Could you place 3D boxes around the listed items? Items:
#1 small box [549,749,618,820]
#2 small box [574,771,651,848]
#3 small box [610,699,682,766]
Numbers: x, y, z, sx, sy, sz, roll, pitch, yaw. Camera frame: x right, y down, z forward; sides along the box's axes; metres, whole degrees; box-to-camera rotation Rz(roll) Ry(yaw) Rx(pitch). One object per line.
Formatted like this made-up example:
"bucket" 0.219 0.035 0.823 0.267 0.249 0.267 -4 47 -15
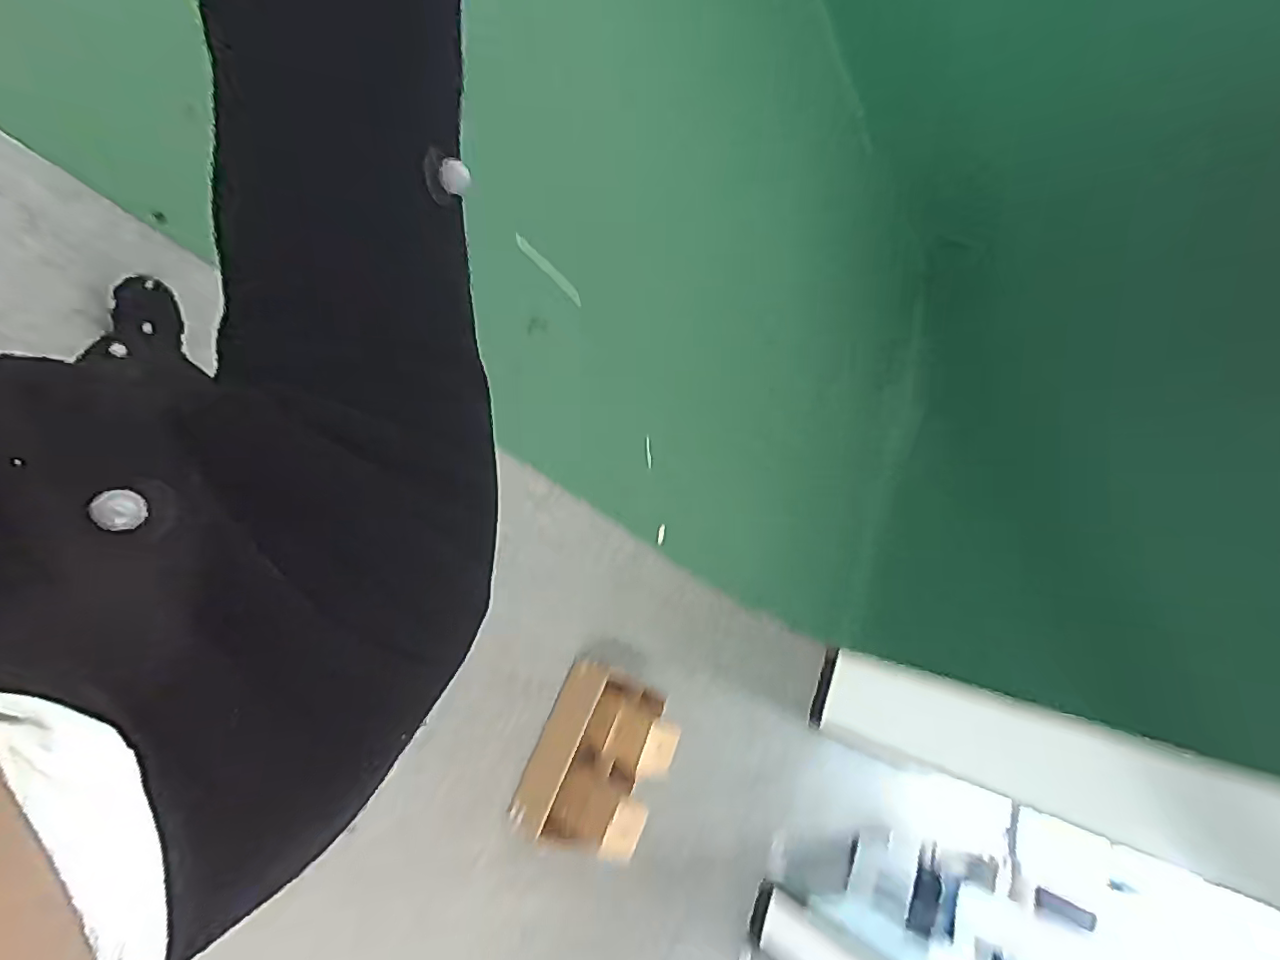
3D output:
"small box" -0.214 1.143 2.018 0.168 0.176 0.179 42 66 -37
"small box" -0.101 1.154 1.902 0.179 0.176 0.168 42 67 -37
"small box" 0.019 0.924 1.990 0.179 0.176 0.168 34 73 -40
